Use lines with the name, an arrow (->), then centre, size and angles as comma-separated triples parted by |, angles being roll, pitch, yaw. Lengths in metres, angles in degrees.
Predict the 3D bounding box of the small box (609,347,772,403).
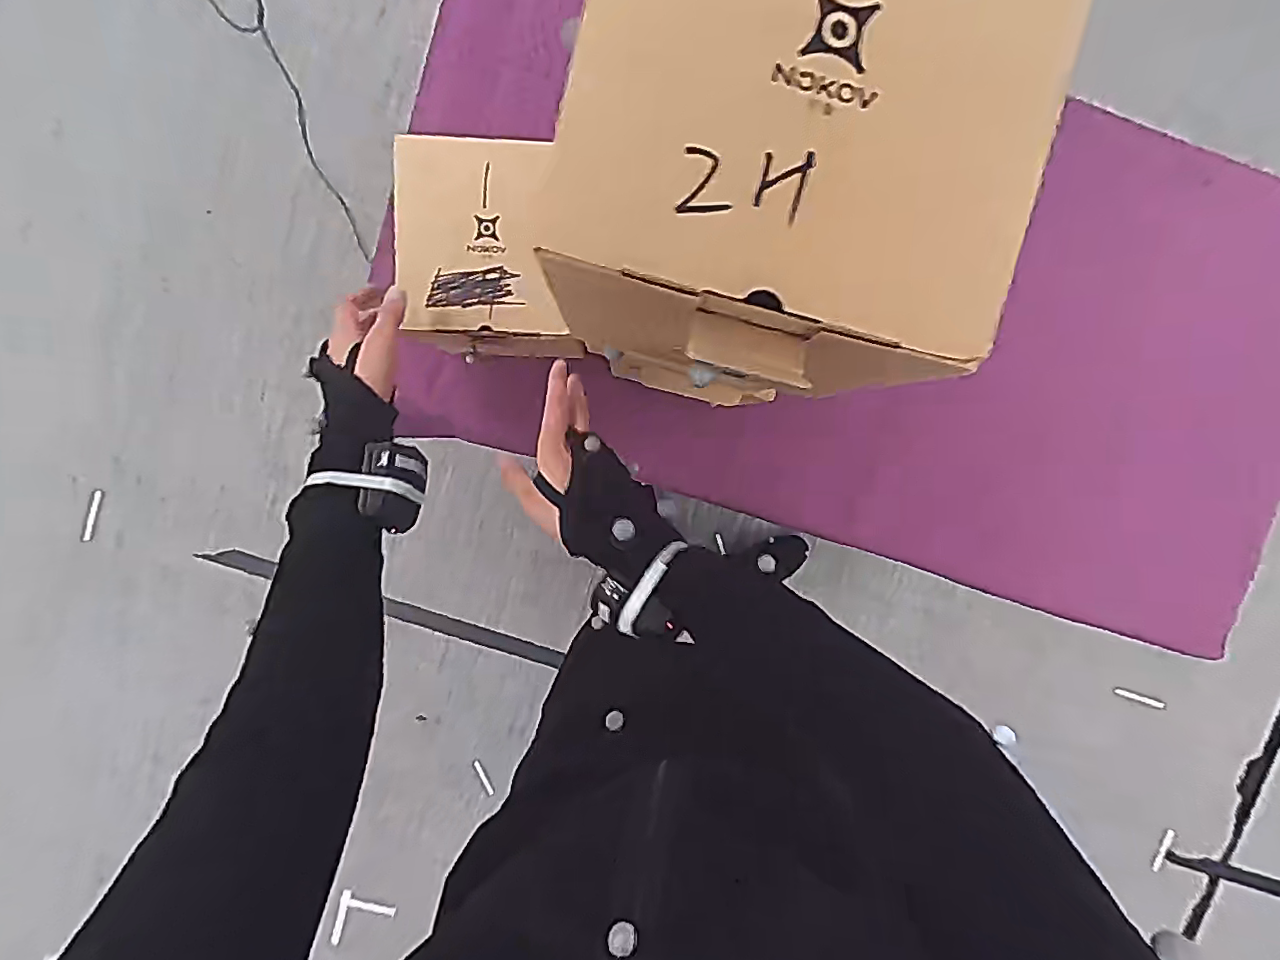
small box -> 0.068, -0.187, 0.592 | 0.168, 0.176, 0.179 | 14, 95, -4

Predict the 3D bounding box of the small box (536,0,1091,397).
small box -> 0.059, -0.148, 0.263 | 0.168, 0.176, 0.179 | 15, 95, -3
